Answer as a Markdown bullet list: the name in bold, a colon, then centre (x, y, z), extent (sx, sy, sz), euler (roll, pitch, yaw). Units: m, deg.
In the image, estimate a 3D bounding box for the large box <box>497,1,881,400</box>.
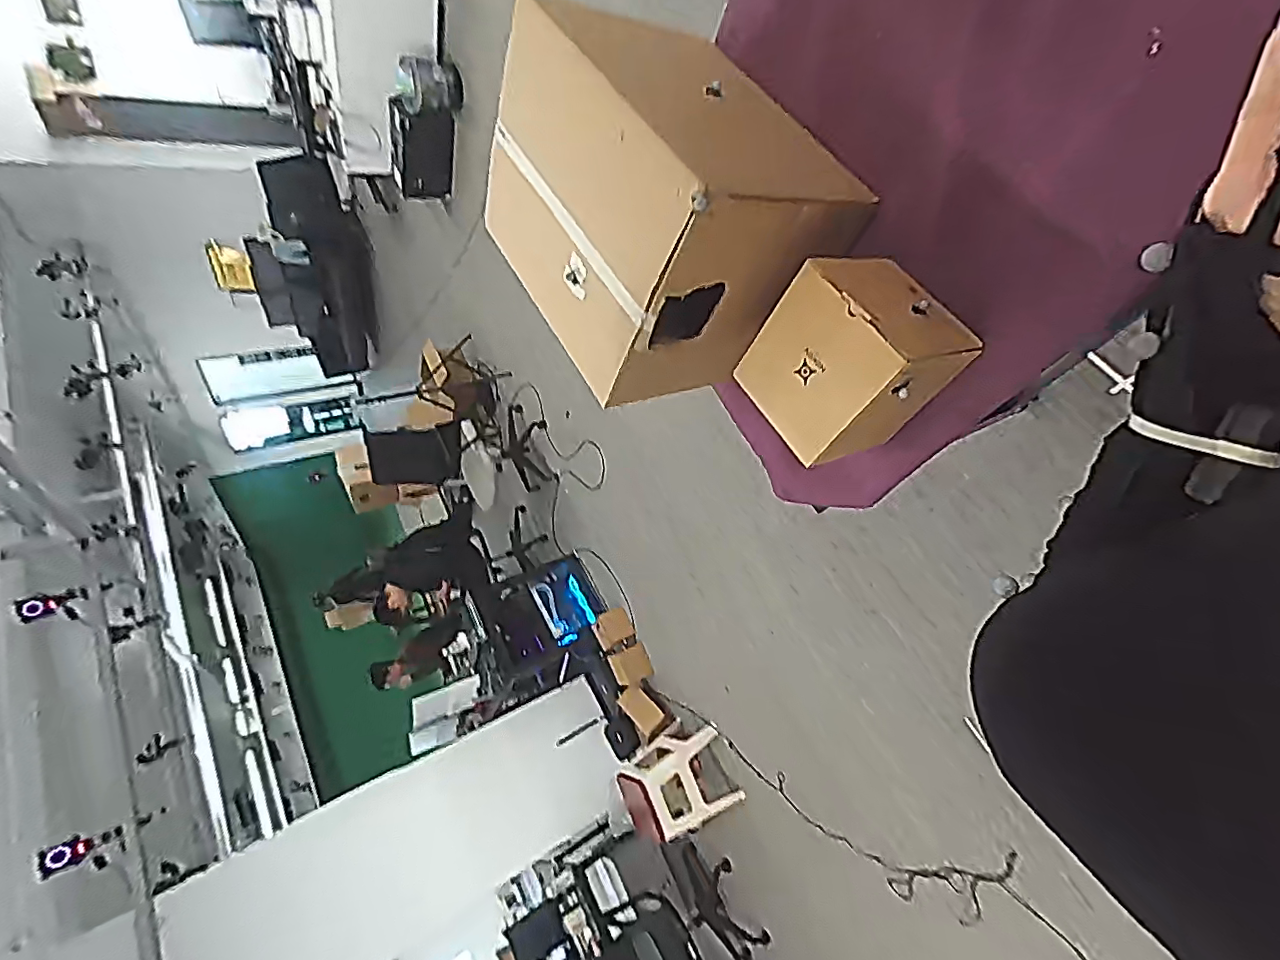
- **large box**: centre (0.039, -0.385, 0.777), extent (0.408, 0.320, 0.320), euler (56, 144, 20)
